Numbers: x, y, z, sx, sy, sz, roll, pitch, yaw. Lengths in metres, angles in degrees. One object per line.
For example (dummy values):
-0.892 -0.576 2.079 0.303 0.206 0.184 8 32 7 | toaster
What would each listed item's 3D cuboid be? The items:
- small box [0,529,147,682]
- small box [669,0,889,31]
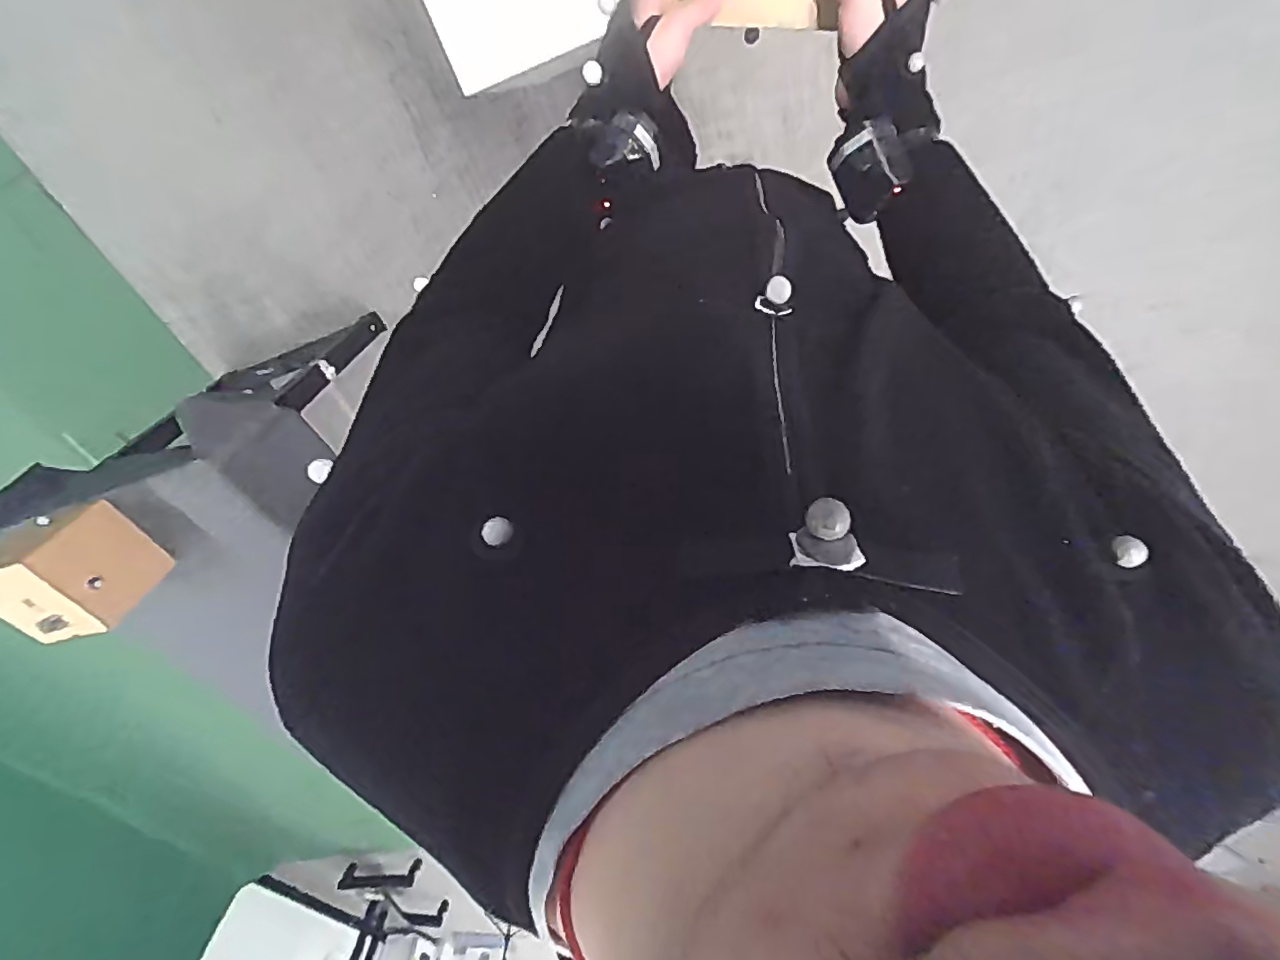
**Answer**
-1.018 0.212 0.921 0.168 0.176 0.179 -14 125 9 | small box
0.118 -0.486 0.447 0.179 0.176 0.168 4 130 1 | small box
